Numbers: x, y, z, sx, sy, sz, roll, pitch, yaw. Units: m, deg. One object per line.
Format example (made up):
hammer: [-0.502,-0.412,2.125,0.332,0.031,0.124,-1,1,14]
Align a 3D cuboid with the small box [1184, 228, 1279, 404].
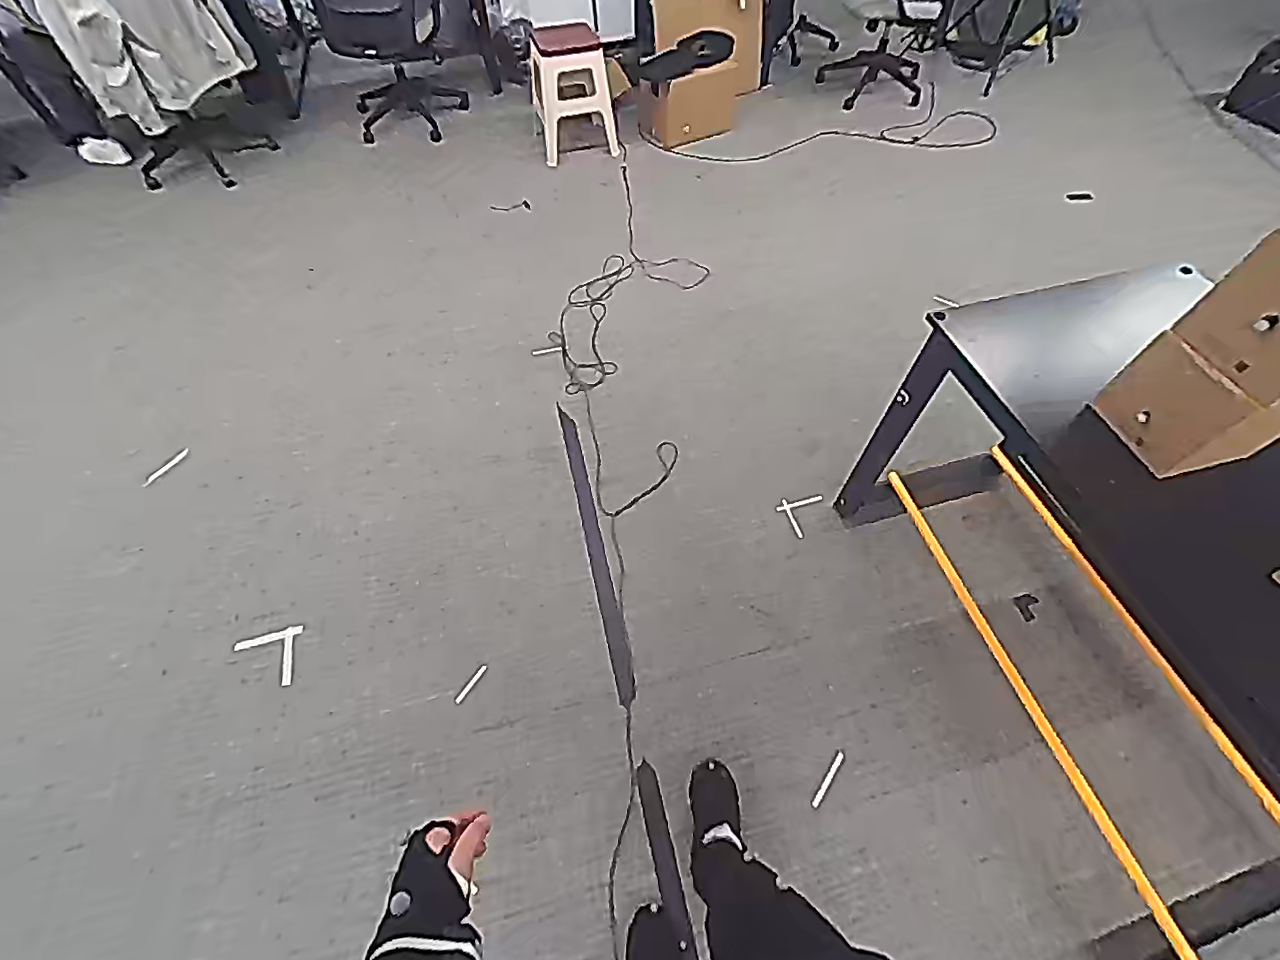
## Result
small box: [0.886,-0.221,0.705,0.179,0.176,0.168,-15,58,-8]

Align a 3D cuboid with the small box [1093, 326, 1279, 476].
small box: [0.878,-0.128,0.840,0.179,0.176,0.168,-12,57,-7]
